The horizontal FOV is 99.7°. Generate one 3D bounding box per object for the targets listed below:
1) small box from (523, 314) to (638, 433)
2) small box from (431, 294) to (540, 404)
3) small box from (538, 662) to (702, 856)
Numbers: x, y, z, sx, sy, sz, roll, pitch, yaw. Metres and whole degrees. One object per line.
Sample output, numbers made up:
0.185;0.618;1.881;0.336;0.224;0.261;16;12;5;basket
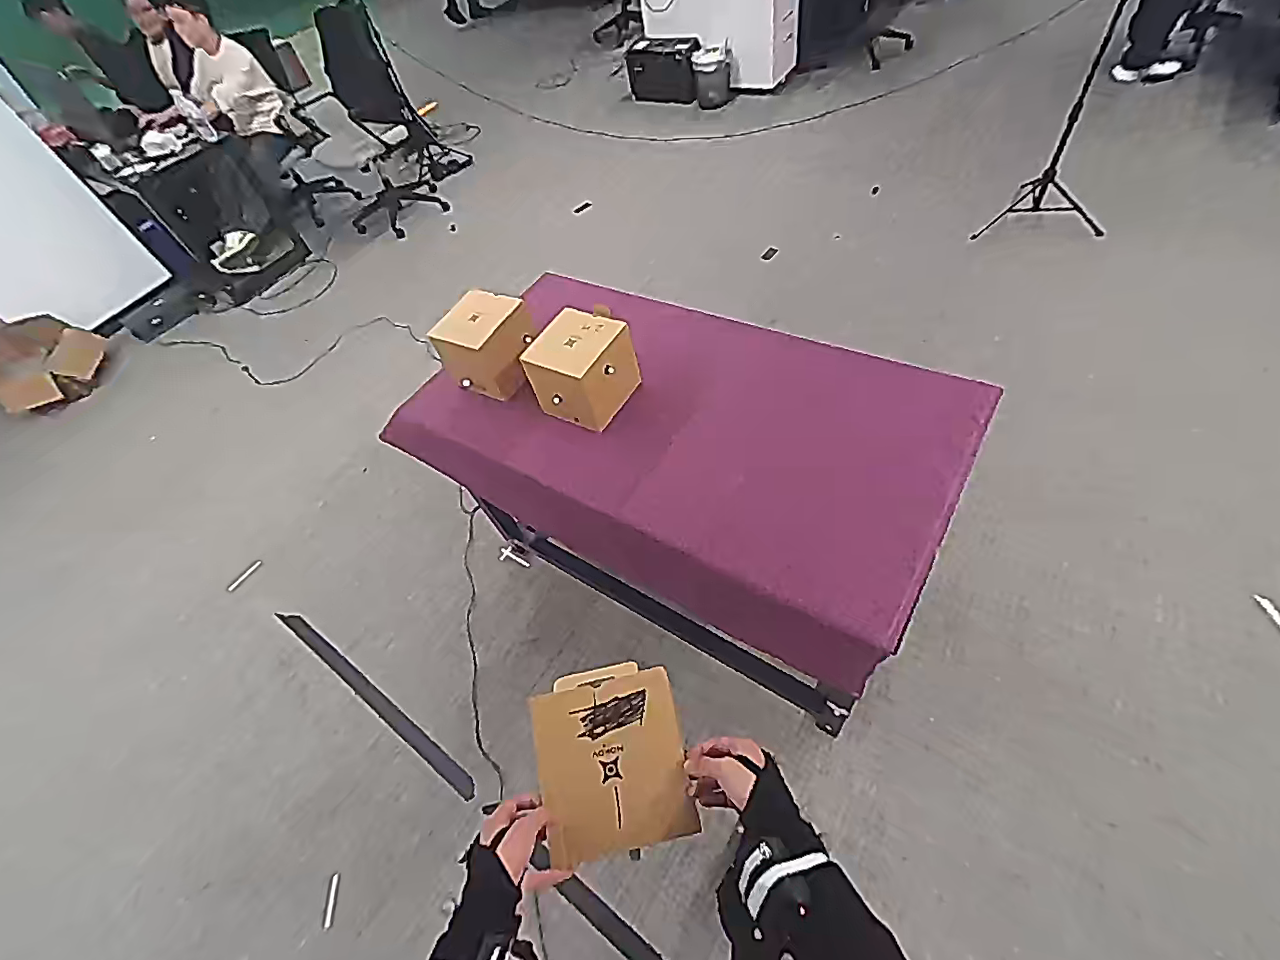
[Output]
-0.120;-0.231;1.189;0.168;0.176;0.179;23;62;25;small box
-0.356;-0.314;1.303;0.168;0.176;0.179;20;60;25;small box
-0.023;0.353;0.688;0.168;0.176;0.179;-13;60;-1;small box
